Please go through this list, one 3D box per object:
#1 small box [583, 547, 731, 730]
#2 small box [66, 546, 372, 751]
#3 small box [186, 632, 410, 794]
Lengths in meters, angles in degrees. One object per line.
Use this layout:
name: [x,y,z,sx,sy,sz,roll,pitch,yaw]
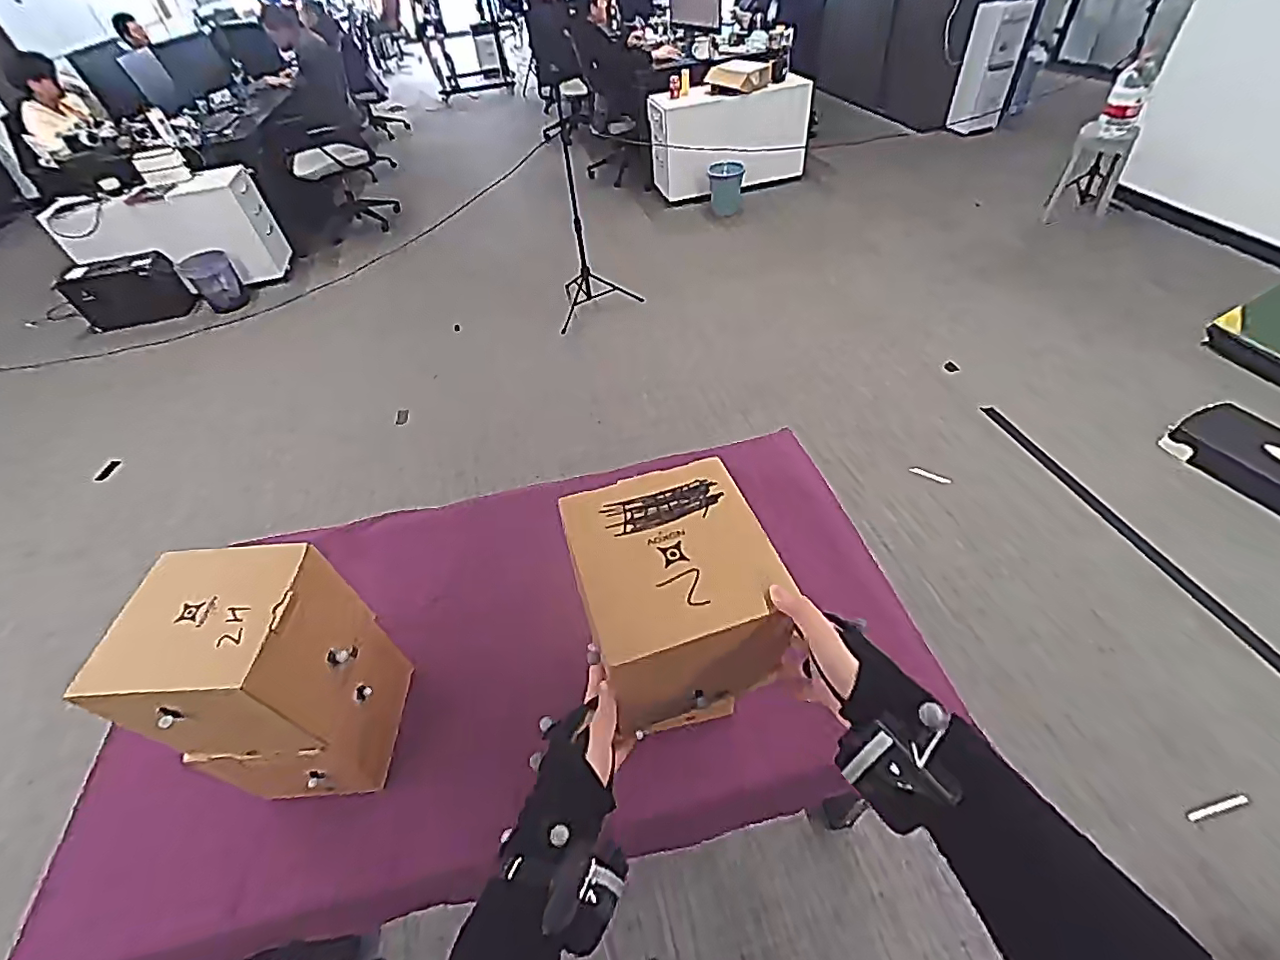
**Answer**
small box: [0.023,0.224,0.744,0.168,0.176,0.179,-11,46,-3]
small box: [-0.442,0.193,0.608,0.179,0.176,0.168,-4,48,2]
small box: [-0.433,0.307,0.726,0.168,0.176,0.179,-5,46,2]
